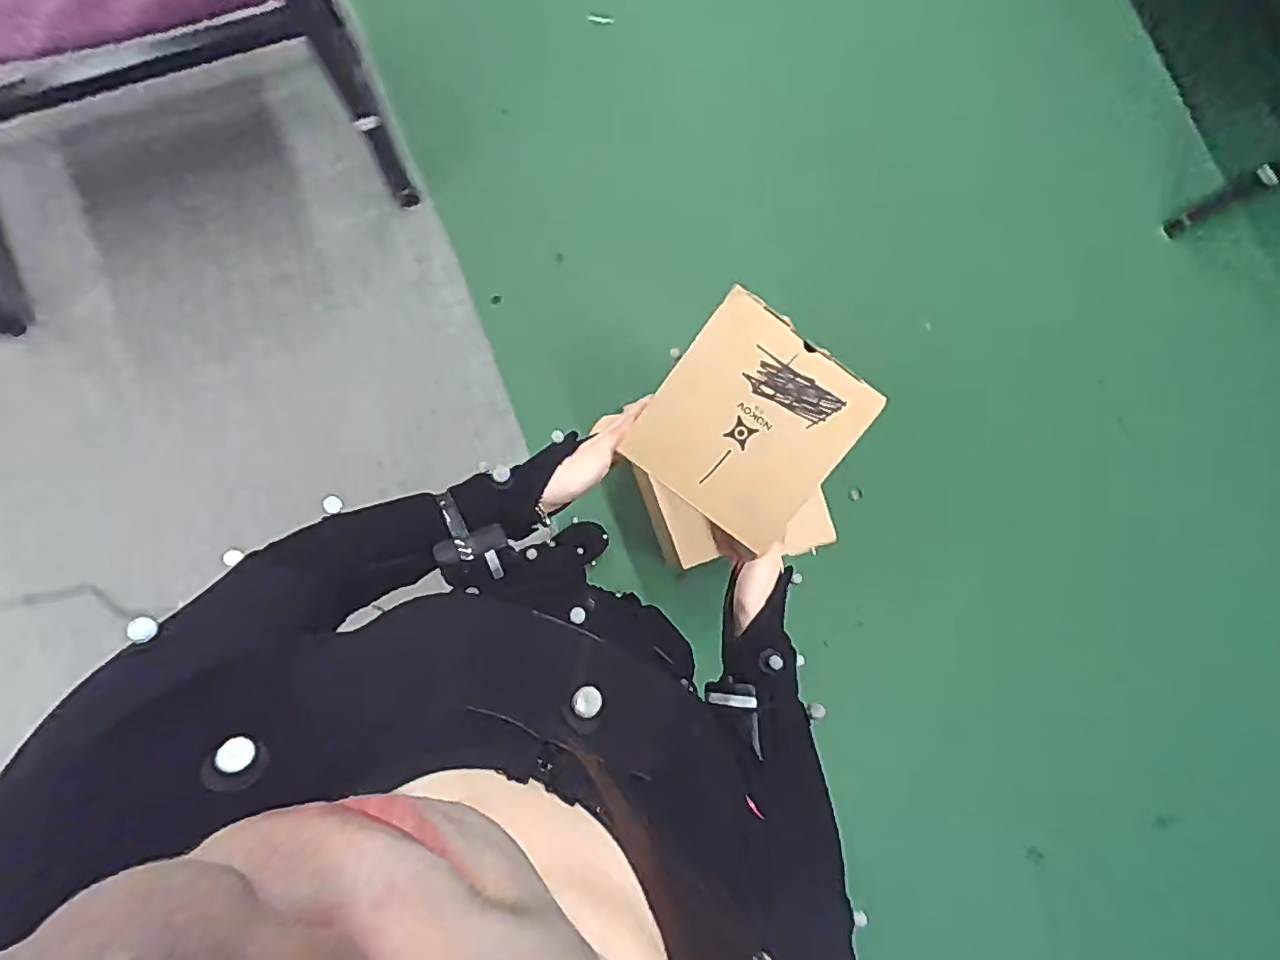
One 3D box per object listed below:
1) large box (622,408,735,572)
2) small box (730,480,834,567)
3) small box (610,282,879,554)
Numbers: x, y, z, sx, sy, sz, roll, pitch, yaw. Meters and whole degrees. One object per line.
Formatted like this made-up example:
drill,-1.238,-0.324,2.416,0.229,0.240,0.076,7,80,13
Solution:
large box,0.161,-0.013,1.390,0.320,0.320,0.408,-19,86,-5
small box,0.278,0.075,1.141,0.168,0.176,0.179,-14,84,-6
small box,0.090,-0.062,0.536,0.168,0.176,0.179,35,100,-2
